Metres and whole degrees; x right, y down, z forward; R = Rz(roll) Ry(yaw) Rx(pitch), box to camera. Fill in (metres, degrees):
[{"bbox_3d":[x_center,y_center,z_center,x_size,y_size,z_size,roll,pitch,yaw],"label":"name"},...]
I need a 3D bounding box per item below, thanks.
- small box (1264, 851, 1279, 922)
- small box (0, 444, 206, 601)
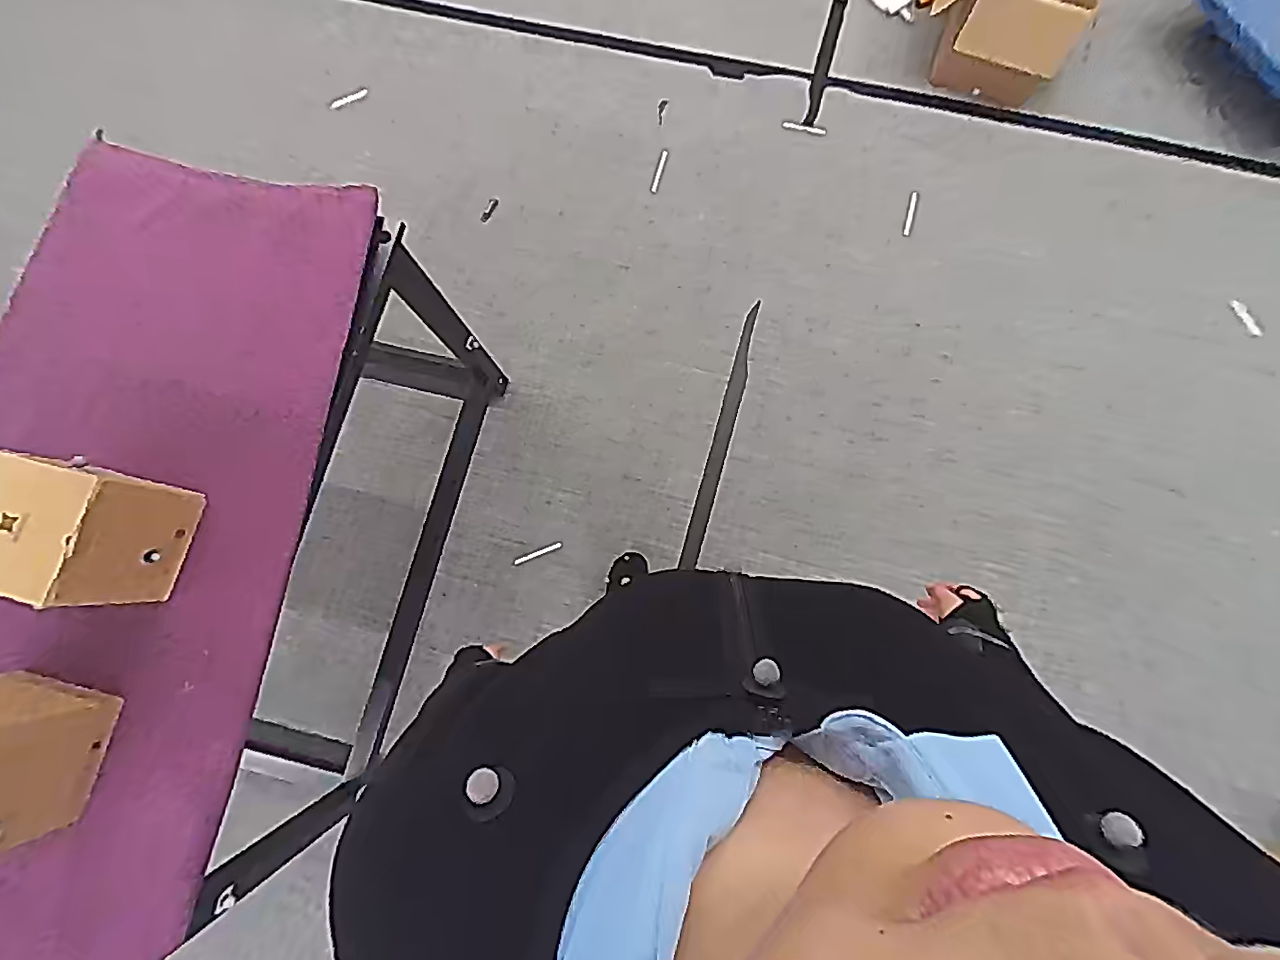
[{"bbox_3d":[1.625,0.996,1.250,0.179,0.176,0.168,17,81,4],"label":"small box"},{"bbox_3d":[-0.771,0.065,0.748,0.179,0.176,0.168,14,80,4],"label":"small box"}]
